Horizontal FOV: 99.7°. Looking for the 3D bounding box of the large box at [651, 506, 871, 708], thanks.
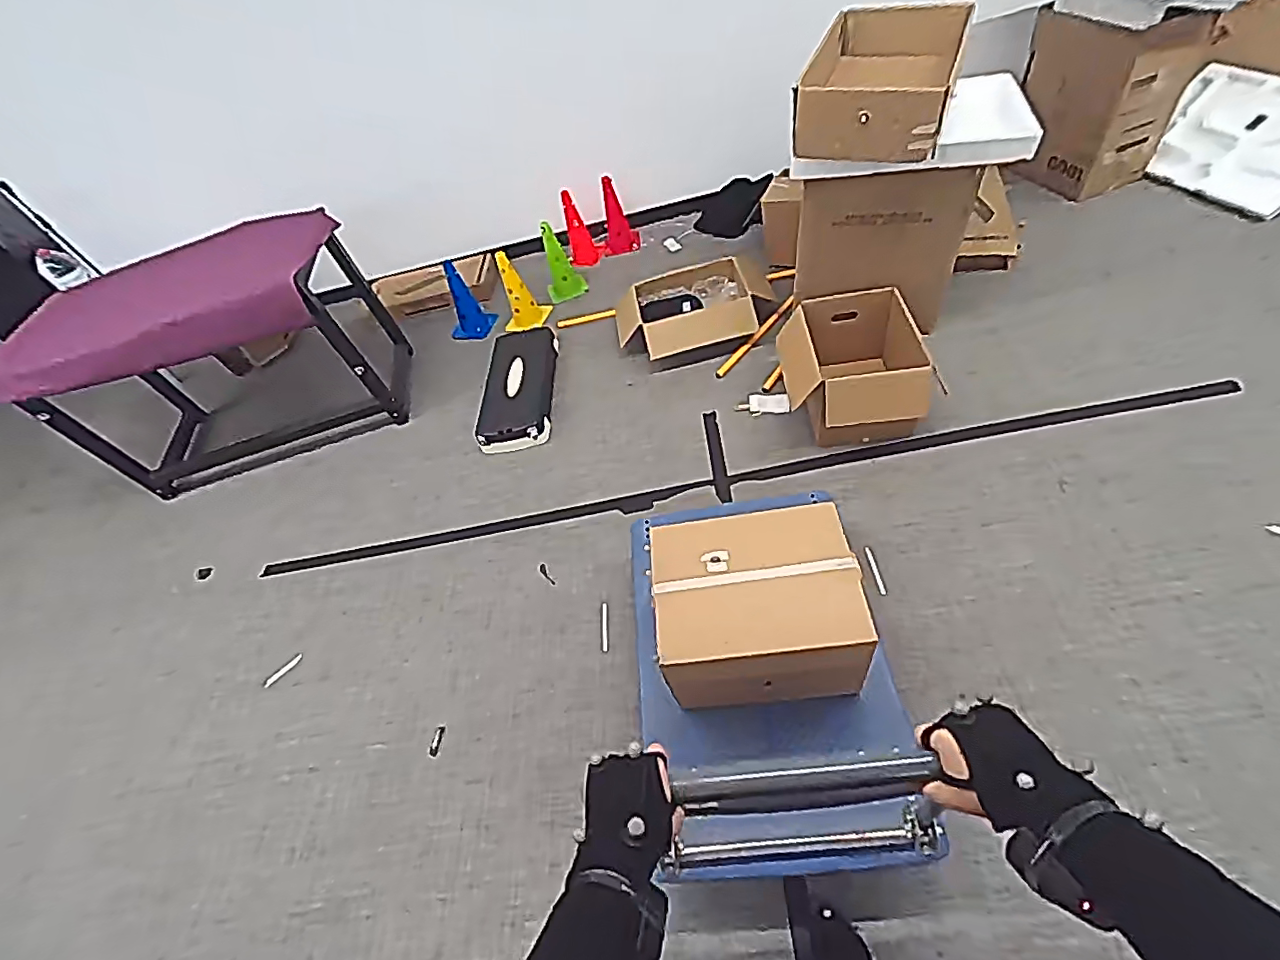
[{"bbox_3d":[0.259,0.300,1.225,0.408,0.320,0.320,-10,50,8],"label":"large box"}]
